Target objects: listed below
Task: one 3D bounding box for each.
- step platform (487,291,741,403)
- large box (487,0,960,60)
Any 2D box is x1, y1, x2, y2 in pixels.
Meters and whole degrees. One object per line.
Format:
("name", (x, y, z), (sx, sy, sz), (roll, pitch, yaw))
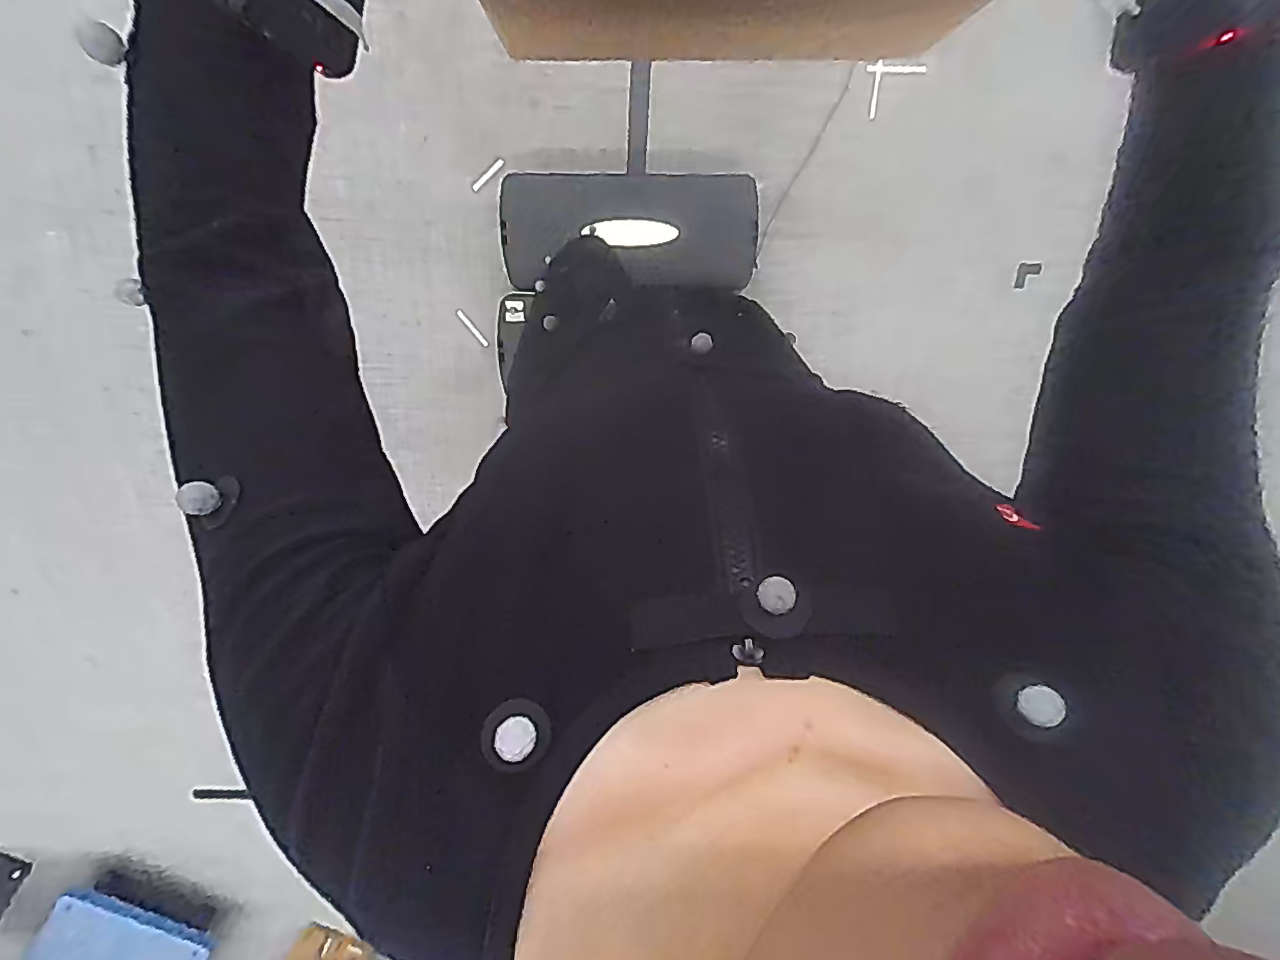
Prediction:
("step platform", (-0.067, -0.365, 1.489), (0.684, 0.204, 0.286), (1, 109, -1))
("large box", (0.071, -0.512, 0.344), (0.408, 0.320, 0.320), (-2, 111, -2))
